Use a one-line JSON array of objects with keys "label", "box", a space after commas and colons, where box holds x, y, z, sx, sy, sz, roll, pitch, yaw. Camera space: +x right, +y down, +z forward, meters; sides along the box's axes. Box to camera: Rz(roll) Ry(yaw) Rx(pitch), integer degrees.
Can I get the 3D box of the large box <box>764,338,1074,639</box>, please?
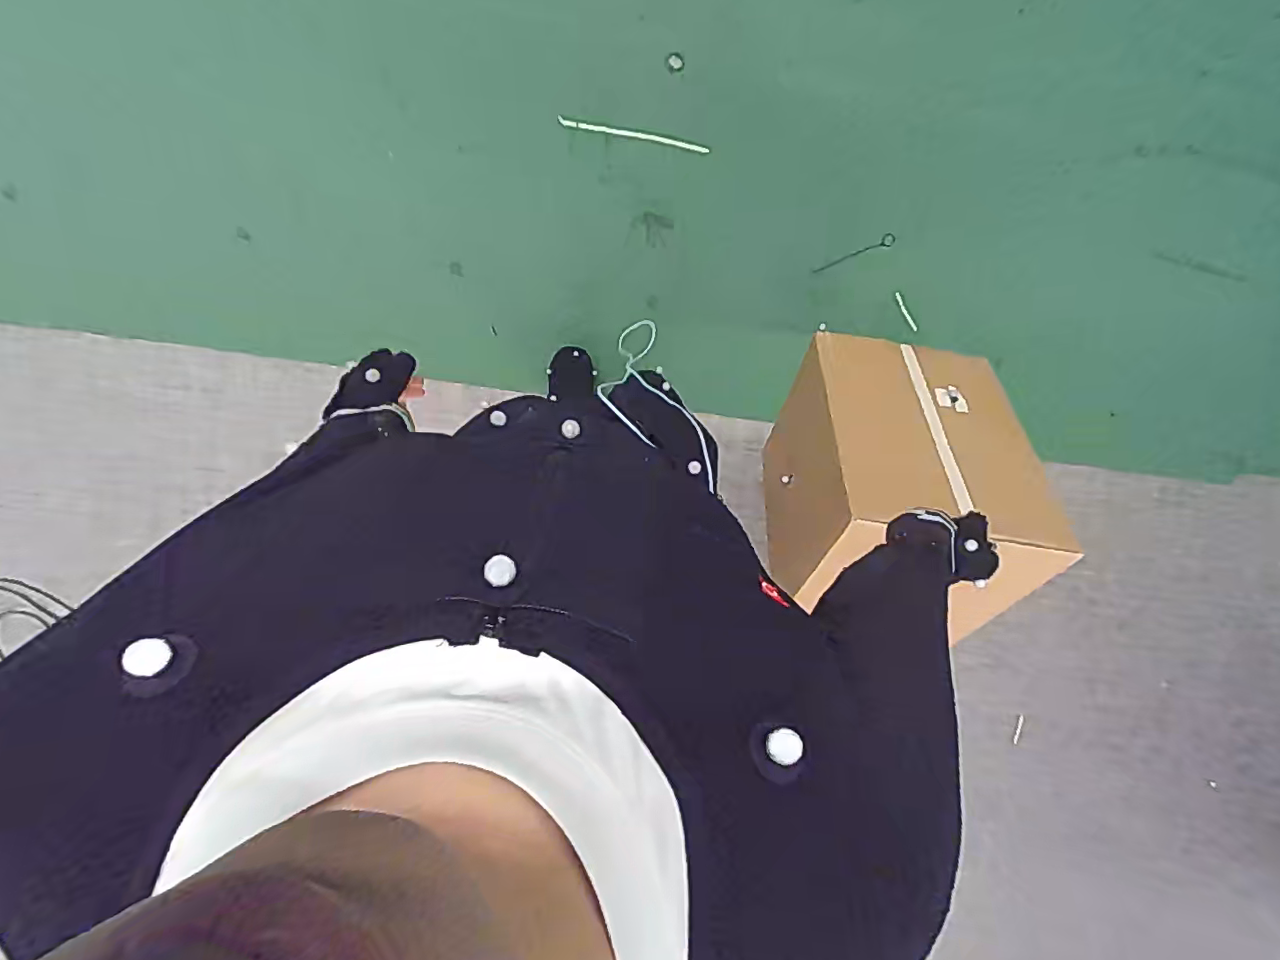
[{"label": "large box", "box": [0.418, 0.016, 0.941, 0.320, 0.408, 0.320, 9, 139, -3]}]
